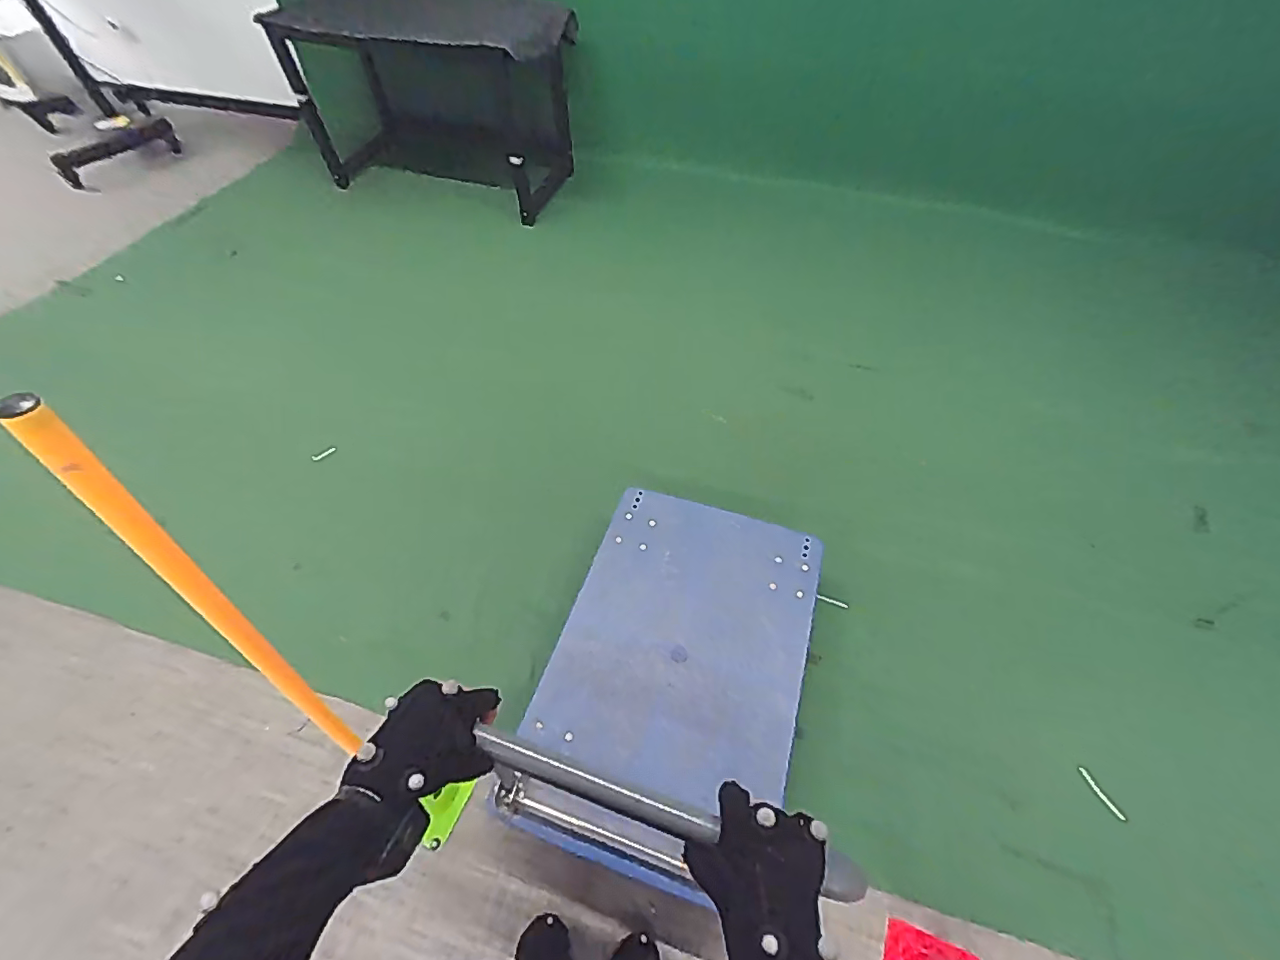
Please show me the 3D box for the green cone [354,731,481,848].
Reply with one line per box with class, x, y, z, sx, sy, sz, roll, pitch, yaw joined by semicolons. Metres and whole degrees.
green cone;-0.502;0.618;1.140;0.202;0.368;0.200;17;54;13
